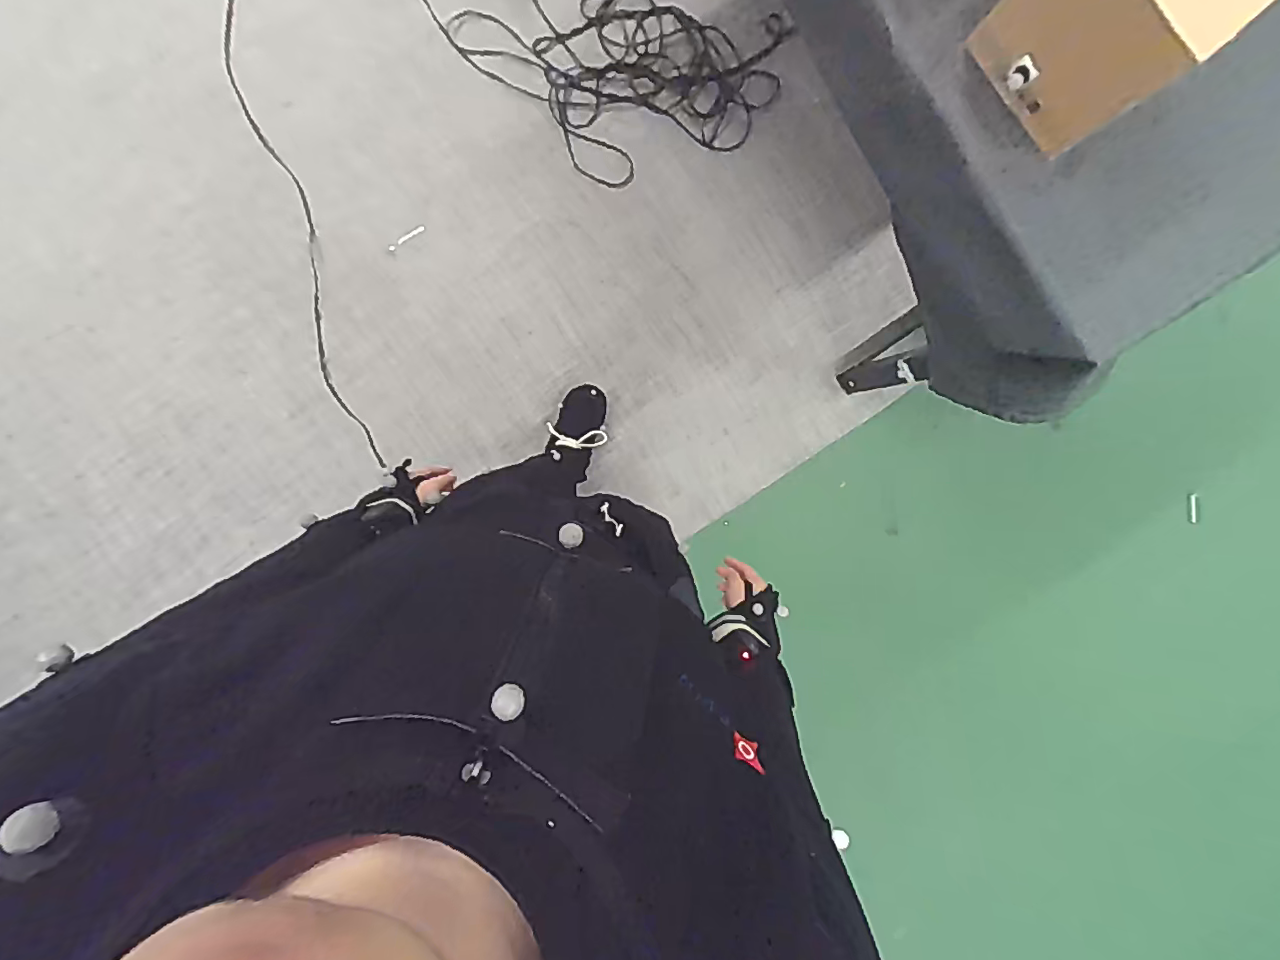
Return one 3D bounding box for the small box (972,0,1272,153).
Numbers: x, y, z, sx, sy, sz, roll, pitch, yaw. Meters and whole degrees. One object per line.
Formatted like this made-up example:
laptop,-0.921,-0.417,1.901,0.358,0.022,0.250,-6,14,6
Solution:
small box,0.480,-0.475,0.526,0.179,0.176,0.168,-42,94,2
